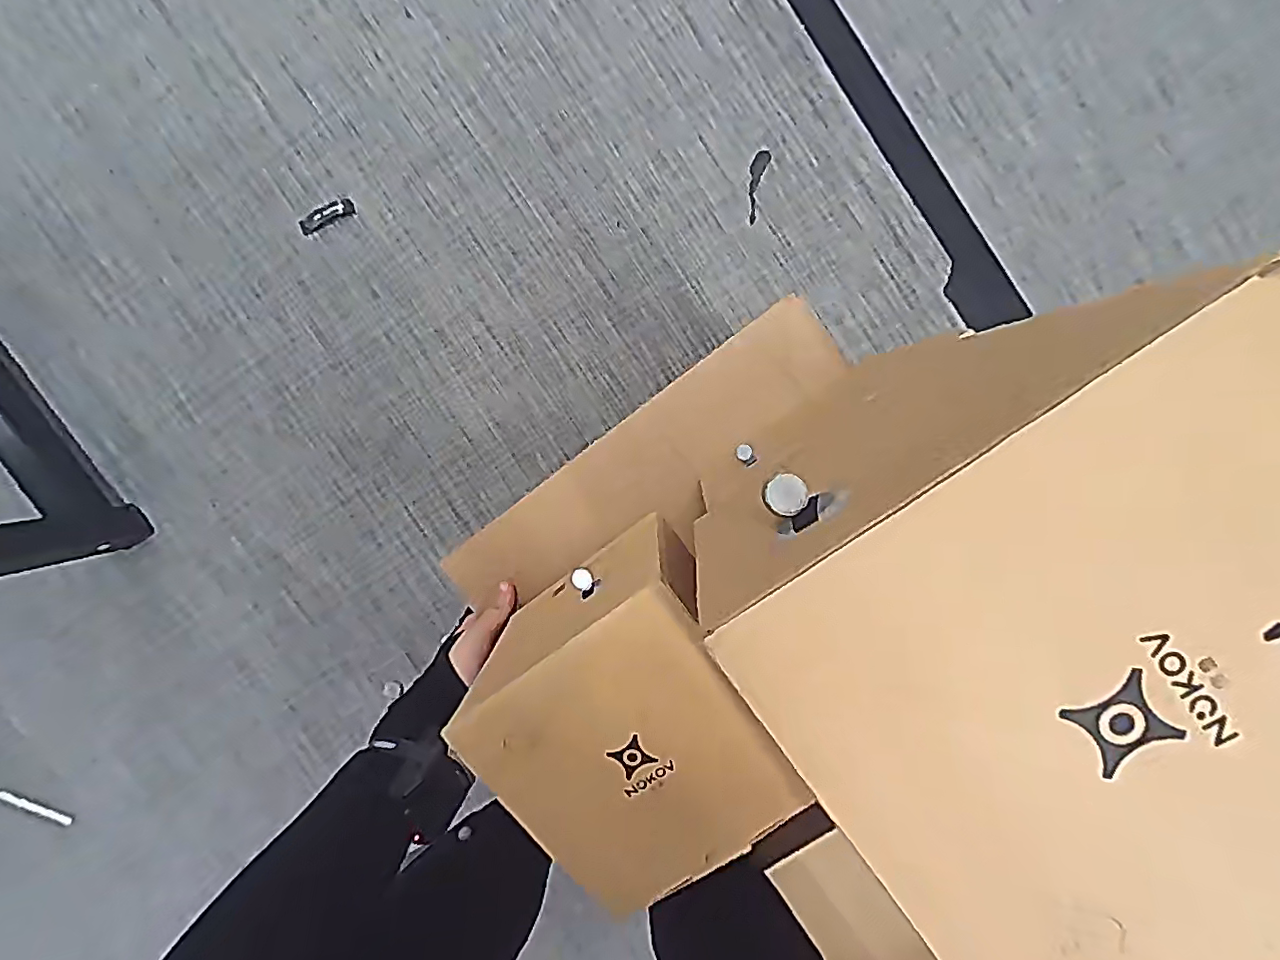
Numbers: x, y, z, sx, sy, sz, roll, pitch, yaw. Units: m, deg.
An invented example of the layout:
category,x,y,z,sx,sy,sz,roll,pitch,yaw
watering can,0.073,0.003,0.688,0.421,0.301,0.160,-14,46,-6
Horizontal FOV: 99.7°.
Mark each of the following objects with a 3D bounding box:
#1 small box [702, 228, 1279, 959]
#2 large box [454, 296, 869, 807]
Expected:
category,x,y,z,sx,sy,sz,roll,pitch,yaw
small box,0.141,0.044,0.219,0.179,0.176,0.168,-36,93,8
large box,0.080,0.061,0.637,0.408,0.320,0.320,-37,92,7
